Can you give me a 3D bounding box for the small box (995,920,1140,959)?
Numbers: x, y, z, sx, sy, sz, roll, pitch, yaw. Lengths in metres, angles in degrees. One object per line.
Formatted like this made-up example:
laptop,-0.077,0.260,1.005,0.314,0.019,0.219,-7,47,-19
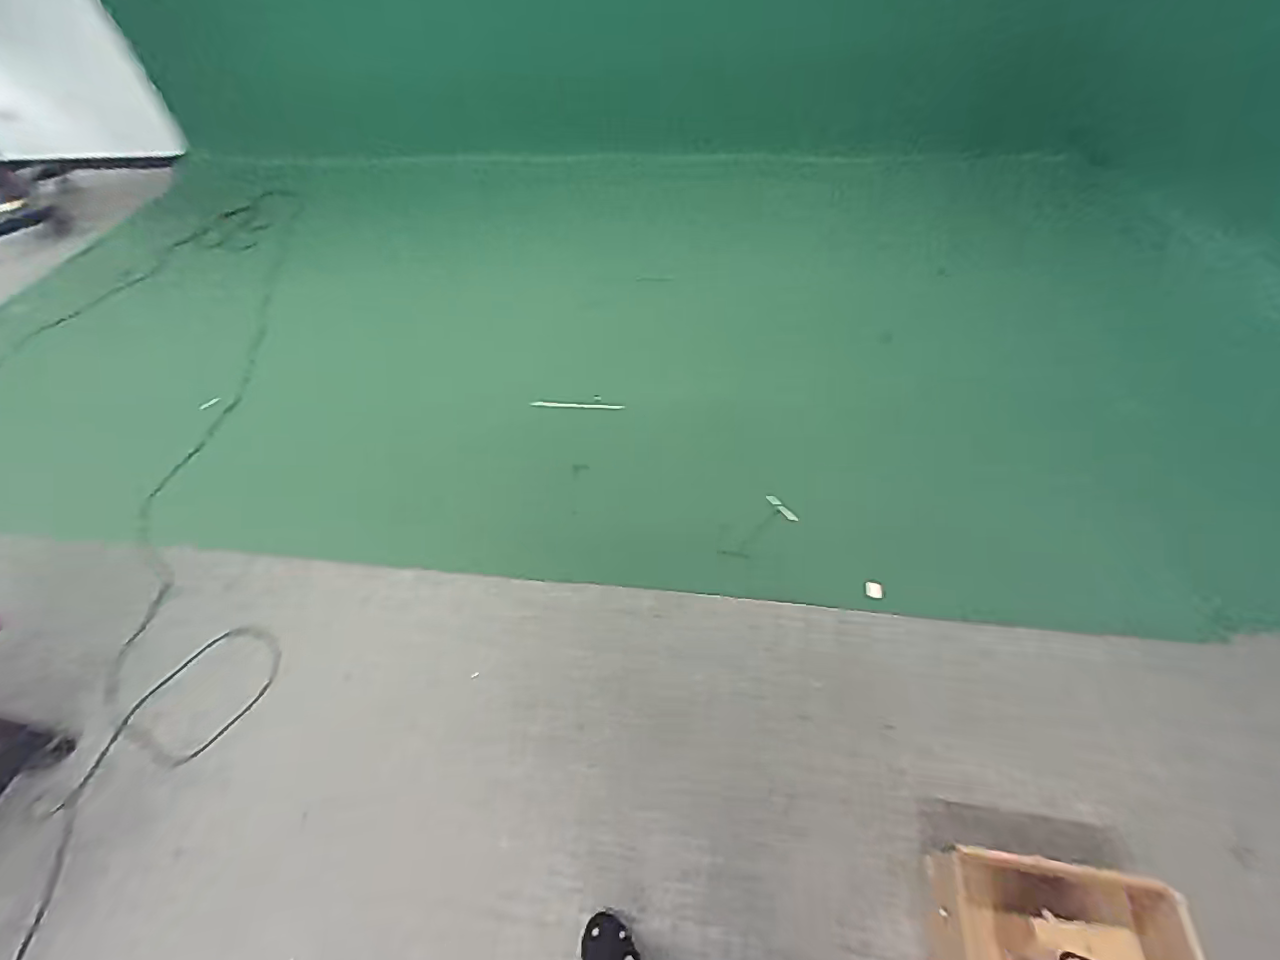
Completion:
small box,0.770,0.904,0.956,0.168,0.176,0.179,2,48,7
